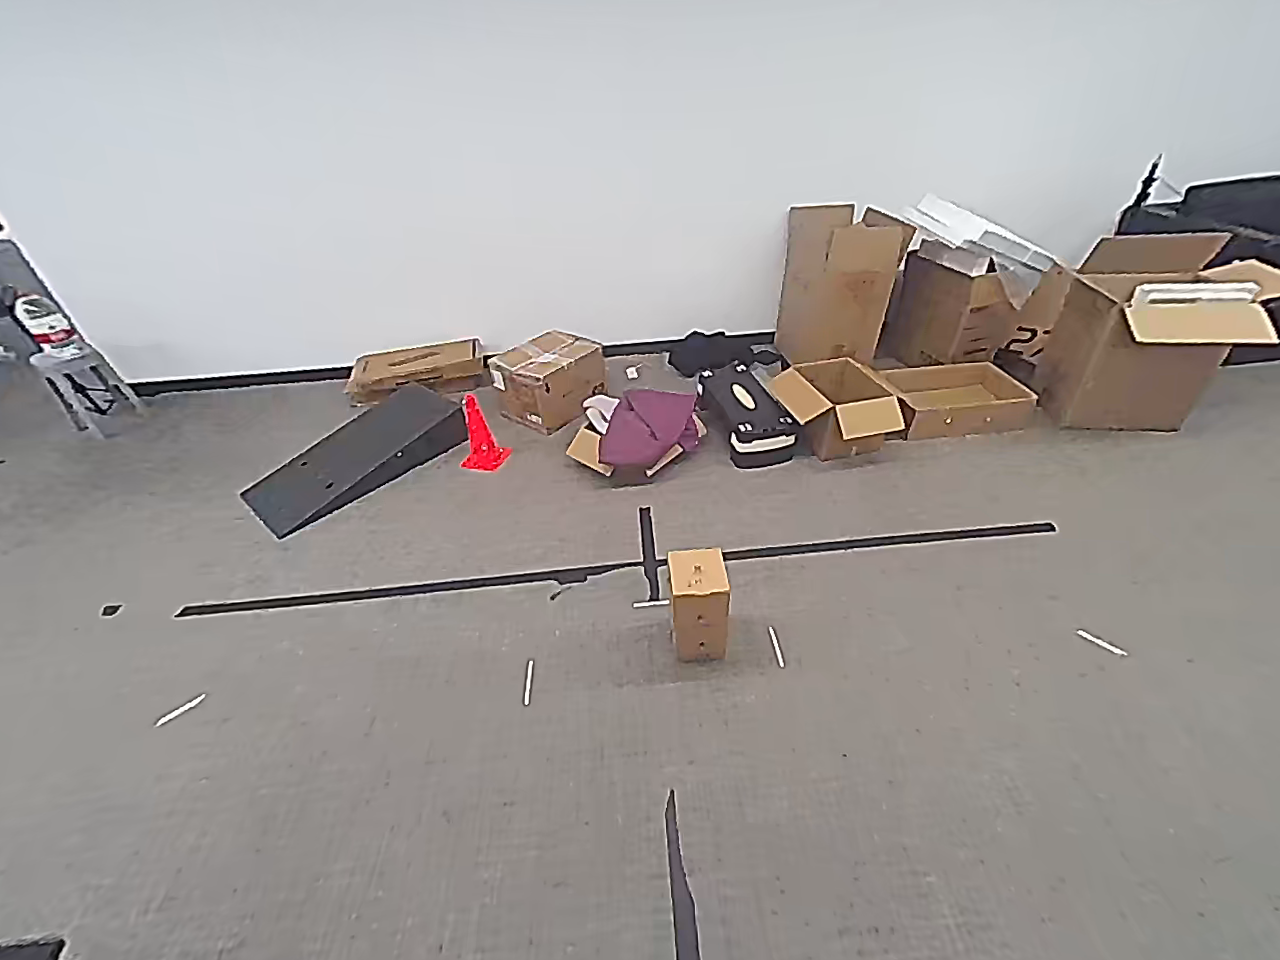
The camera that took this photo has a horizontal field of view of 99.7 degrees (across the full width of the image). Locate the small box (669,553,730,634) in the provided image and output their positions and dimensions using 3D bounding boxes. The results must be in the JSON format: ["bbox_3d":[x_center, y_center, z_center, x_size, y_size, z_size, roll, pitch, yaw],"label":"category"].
[{"bbox_3d":[0.175,0.345,1.646,0.168,0.176,0.179,-4,38,0],"label":"small box"}]

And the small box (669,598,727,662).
[{"bbox_3d":[0.187,0.472,1.752,0.168,0.176,0.179,-5,38,-2],"label":"small box"}]
